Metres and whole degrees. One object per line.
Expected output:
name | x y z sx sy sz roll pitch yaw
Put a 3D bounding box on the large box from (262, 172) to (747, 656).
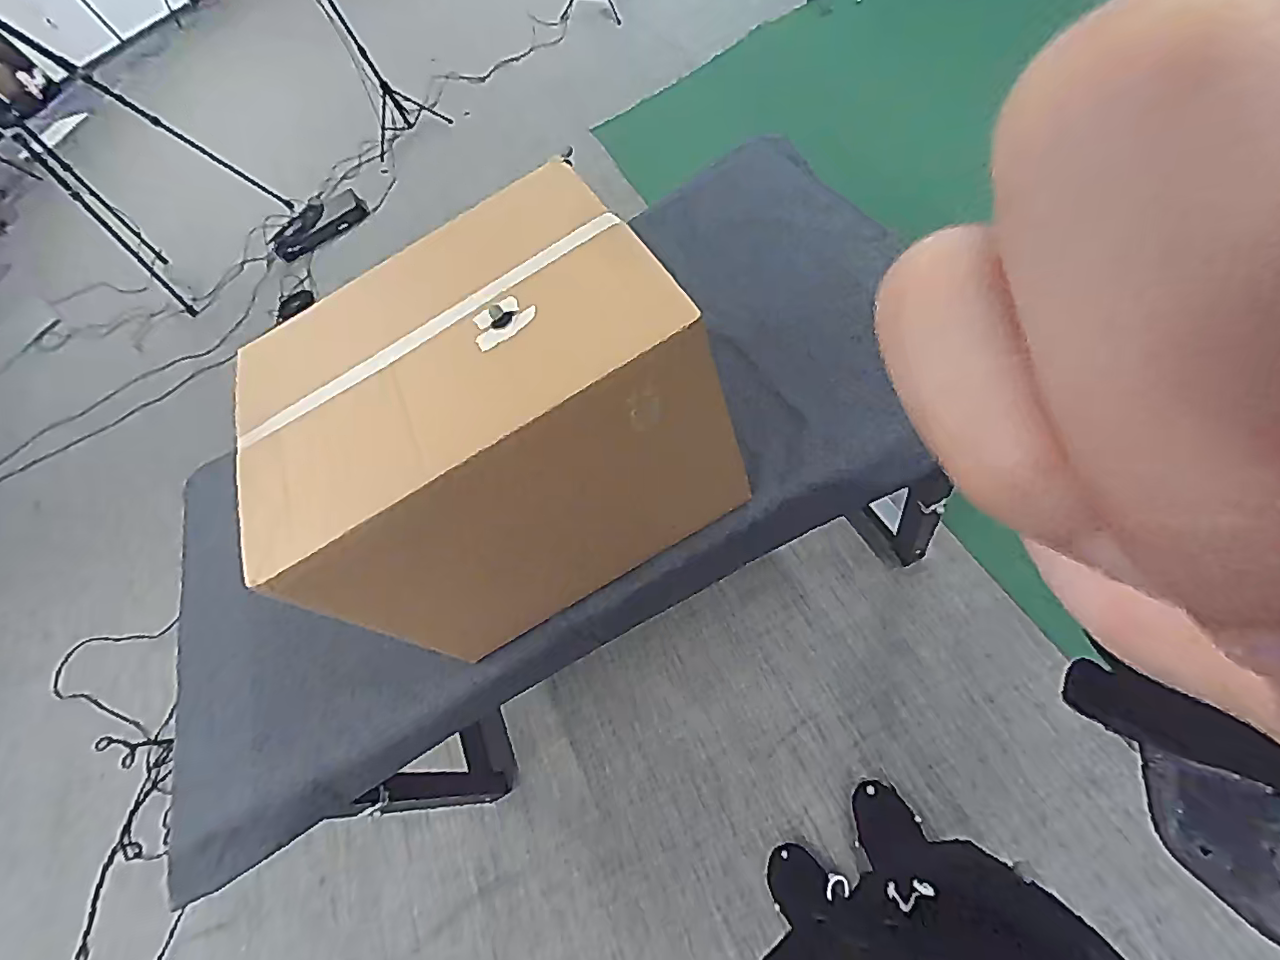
large box | -0.140 -0.059 0.630 0.408 0.320 0.320 -31 56 0
